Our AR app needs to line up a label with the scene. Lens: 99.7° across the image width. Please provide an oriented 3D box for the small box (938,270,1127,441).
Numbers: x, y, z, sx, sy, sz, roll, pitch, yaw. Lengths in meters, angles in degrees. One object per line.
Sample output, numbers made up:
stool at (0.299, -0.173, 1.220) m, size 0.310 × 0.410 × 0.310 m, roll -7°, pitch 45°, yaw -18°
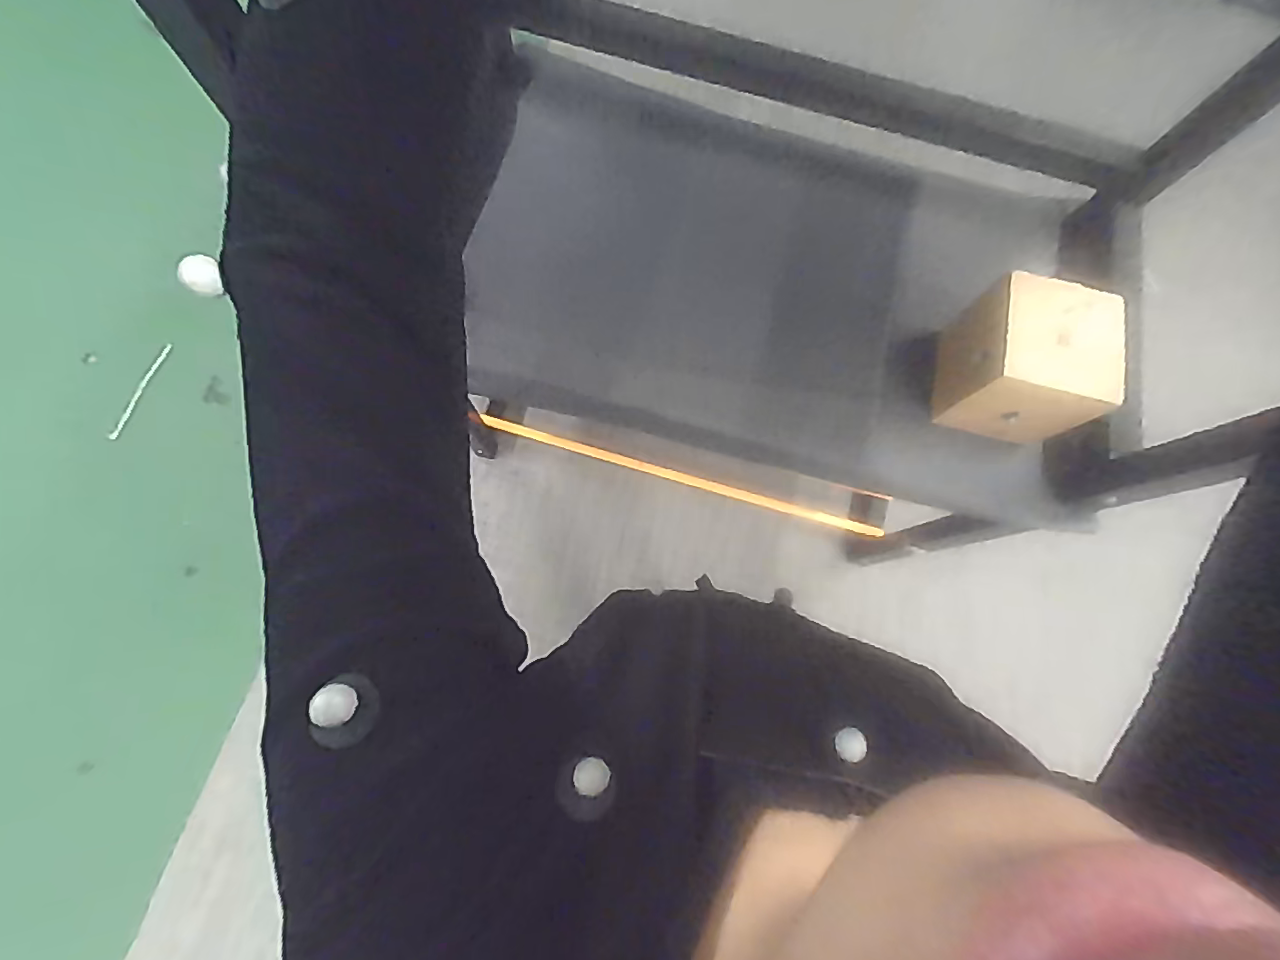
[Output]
small box at (0.580, -0.177, 0.817) m, size 0.168 × 0.176 × 0.179 m, roll 14°, pitch 74°, yaw 0°
